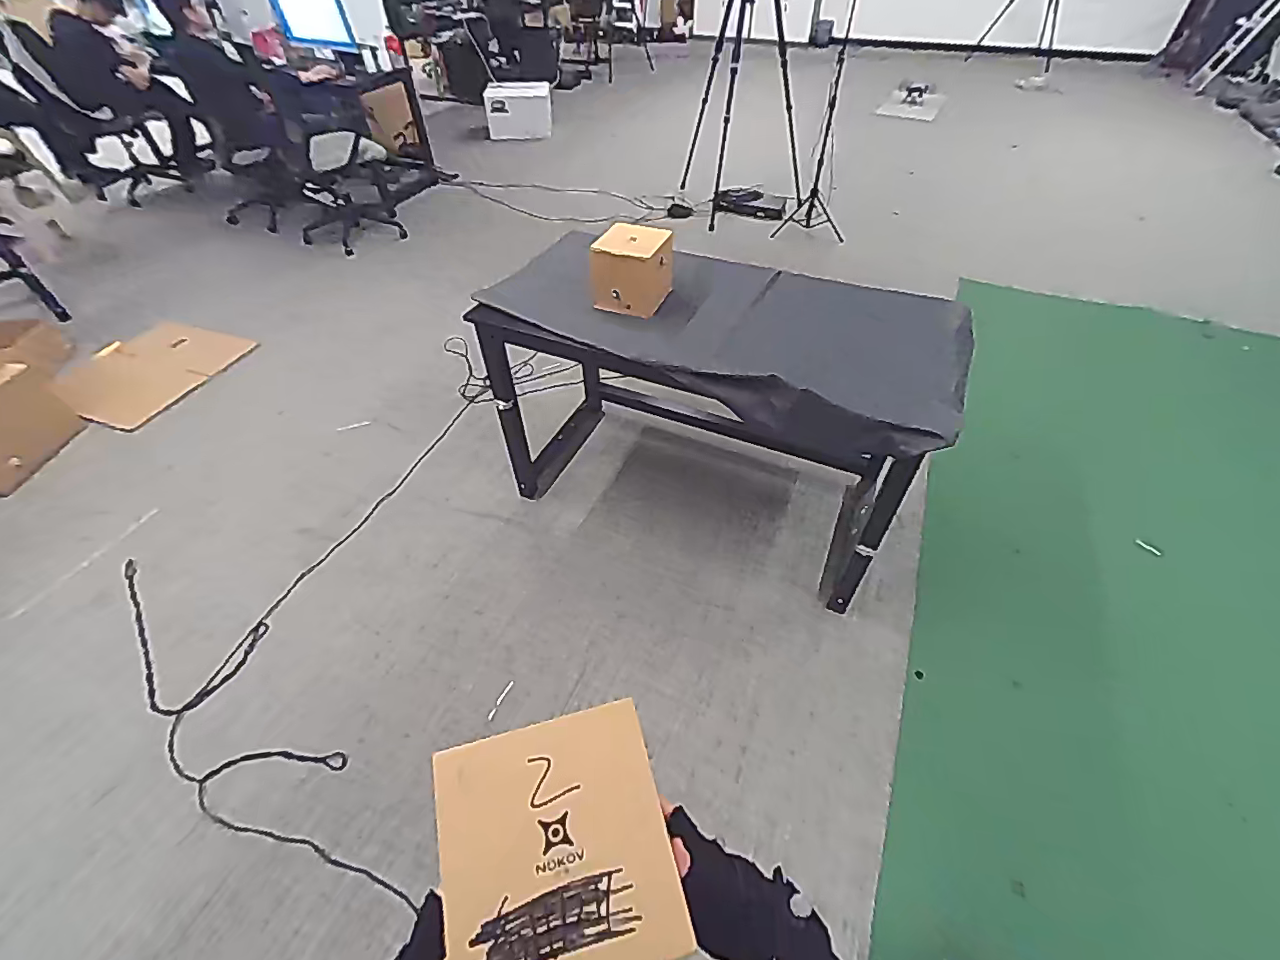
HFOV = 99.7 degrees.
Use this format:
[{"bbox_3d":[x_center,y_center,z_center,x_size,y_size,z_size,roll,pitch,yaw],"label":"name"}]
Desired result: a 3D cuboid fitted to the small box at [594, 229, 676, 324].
[{"bbox_3d":[-0.012,-0.550,1.462,0.168,0.176,0.179,17,50,15],"label":"small box"}]
